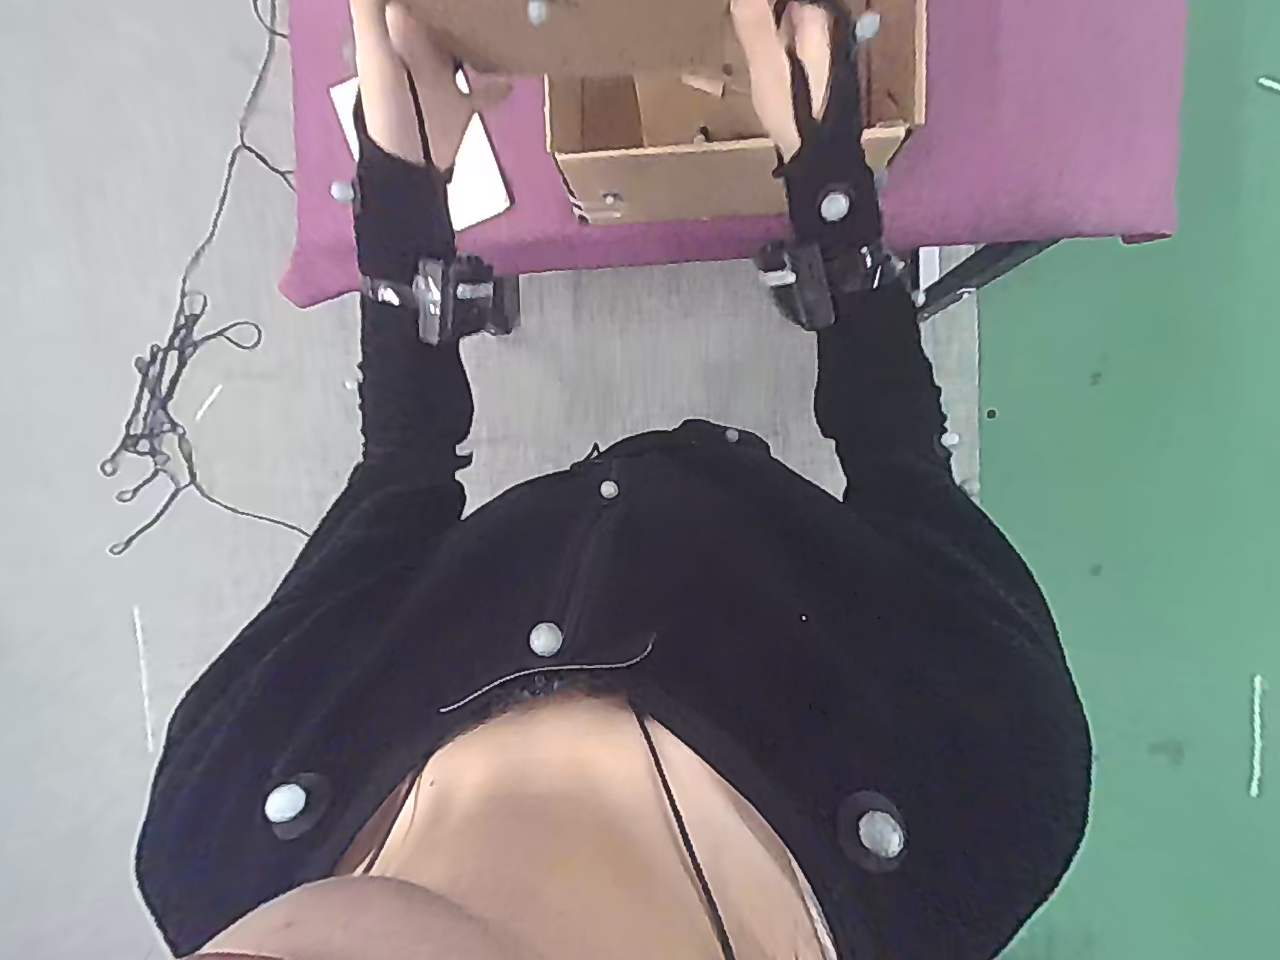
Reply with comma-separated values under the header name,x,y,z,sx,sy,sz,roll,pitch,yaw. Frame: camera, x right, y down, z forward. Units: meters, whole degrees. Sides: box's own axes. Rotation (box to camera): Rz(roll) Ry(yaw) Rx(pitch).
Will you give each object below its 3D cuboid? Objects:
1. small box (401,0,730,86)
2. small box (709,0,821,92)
name,x,y,z,sx,sy,sz,roll,pitch,yaw
small box,-0.038,-0.322,0.274,0.179,0.176,0.168,4,111,6
small box,0.086,-0.479,0.455,0.168,0.176,0.179,20,93,7
